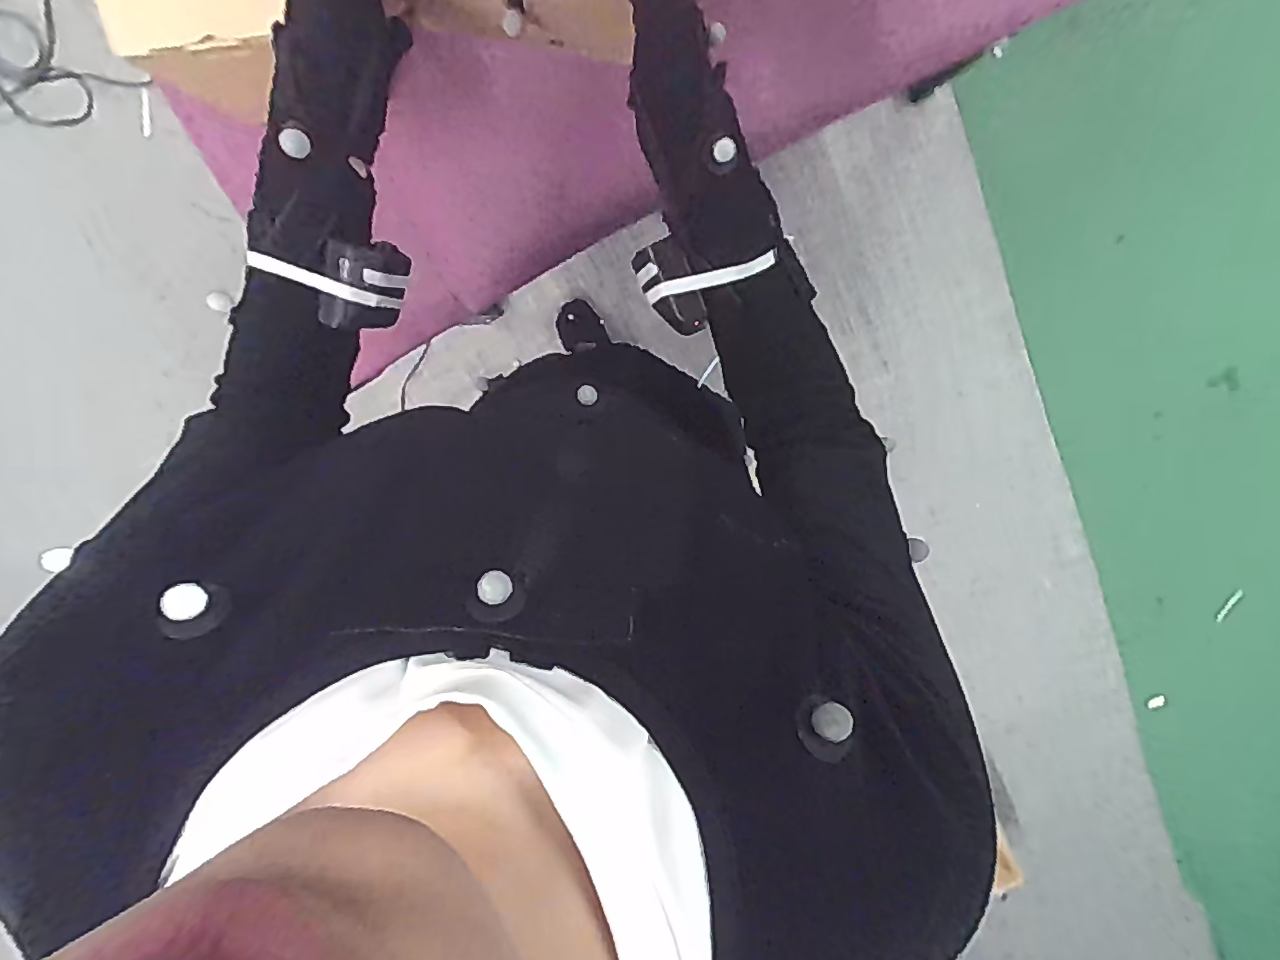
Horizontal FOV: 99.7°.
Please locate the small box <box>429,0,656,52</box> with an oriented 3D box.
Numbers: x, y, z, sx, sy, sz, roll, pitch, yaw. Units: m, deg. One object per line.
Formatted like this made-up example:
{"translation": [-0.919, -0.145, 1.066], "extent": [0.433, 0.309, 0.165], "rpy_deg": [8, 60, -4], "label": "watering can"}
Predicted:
{"translation": [-0.064, -0.393, 0.324], "extent": [0.168, 0.176, 0.179], "rpy_deg": [4, 111, -3], "label": "small box"}
